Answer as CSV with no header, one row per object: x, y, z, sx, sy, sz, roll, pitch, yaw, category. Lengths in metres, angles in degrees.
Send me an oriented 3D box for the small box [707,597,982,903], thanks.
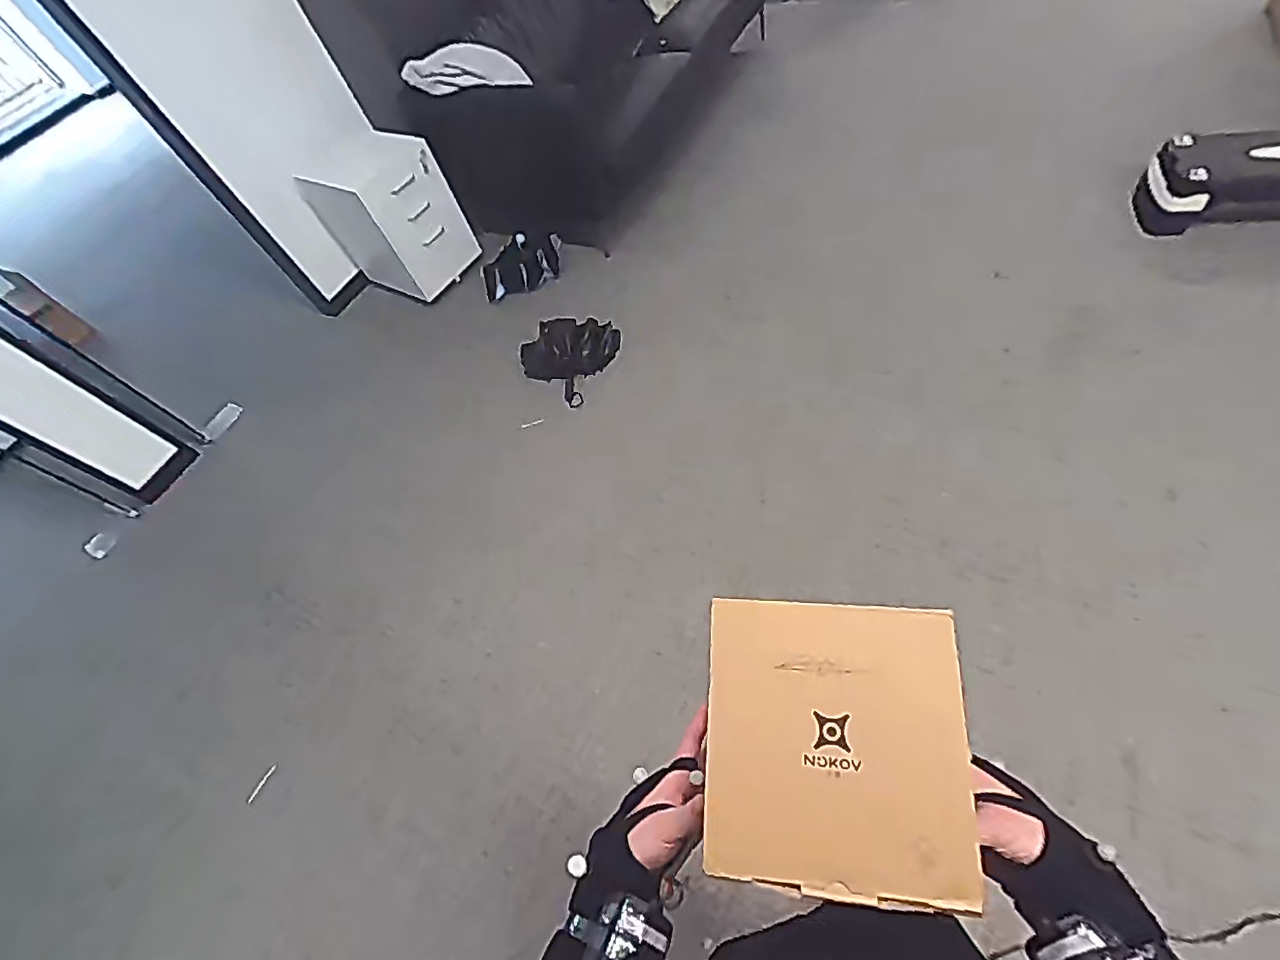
0.142,0.198,0.437,0.168,0.176,0.179,0,69,9,small box
